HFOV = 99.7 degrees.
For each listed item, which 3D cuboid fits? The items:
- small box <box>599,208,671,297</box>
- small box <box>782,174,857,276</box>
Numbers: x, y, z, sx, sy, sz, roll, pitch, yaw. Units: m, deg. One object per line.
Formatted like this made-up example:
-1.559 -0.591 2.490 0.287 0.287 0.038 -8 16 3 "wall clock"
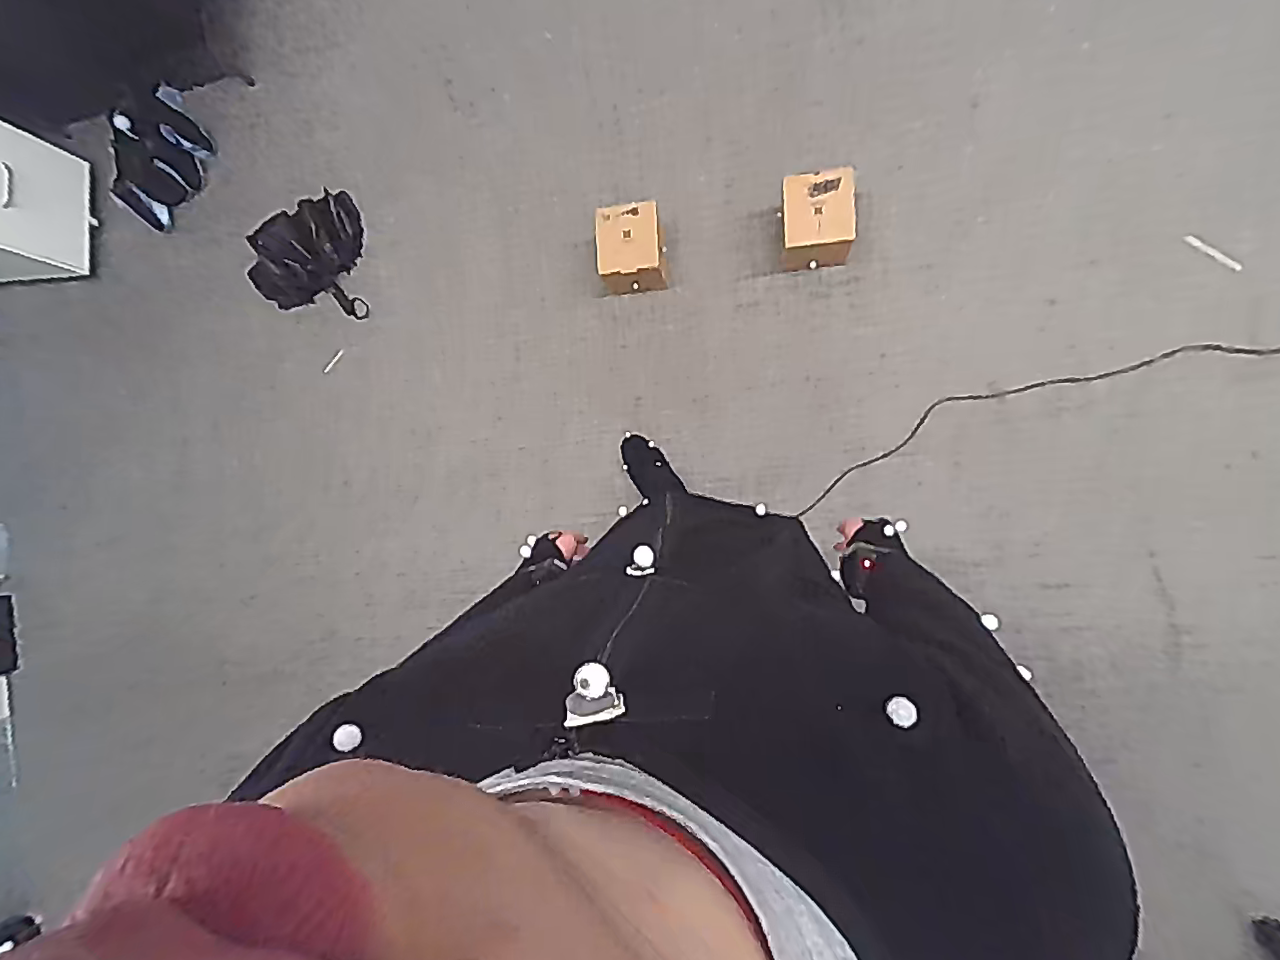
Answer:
-0.008 -0.618 1.496 0.168 0.176 0.179 -3 89 12 "small box"
0.457 -0.649 1.395 0.168 0.176 0.179 -3 91 13 "small box"
